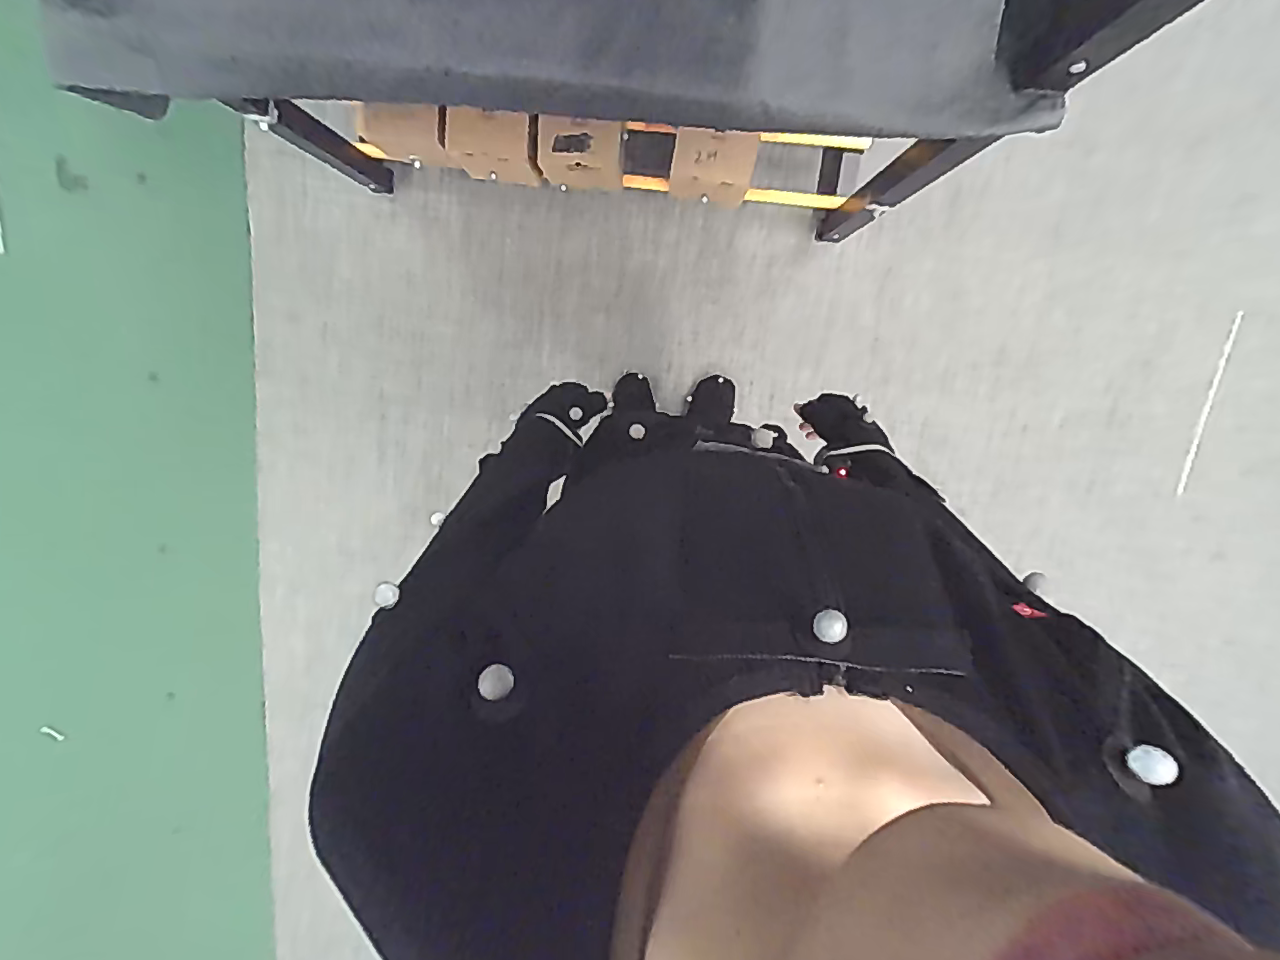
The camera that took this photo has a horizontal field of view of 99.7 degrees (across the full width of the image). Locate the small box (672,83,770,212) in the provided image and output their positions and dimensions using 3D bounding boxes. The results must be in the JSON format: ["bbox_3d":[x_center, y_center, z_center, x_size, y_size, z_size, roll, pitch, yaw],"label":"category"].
[{"bbox_3d":[0.164,-0.698,1.155,0.168,0.176,0.179,11,104,0],"label":"small box"}]
